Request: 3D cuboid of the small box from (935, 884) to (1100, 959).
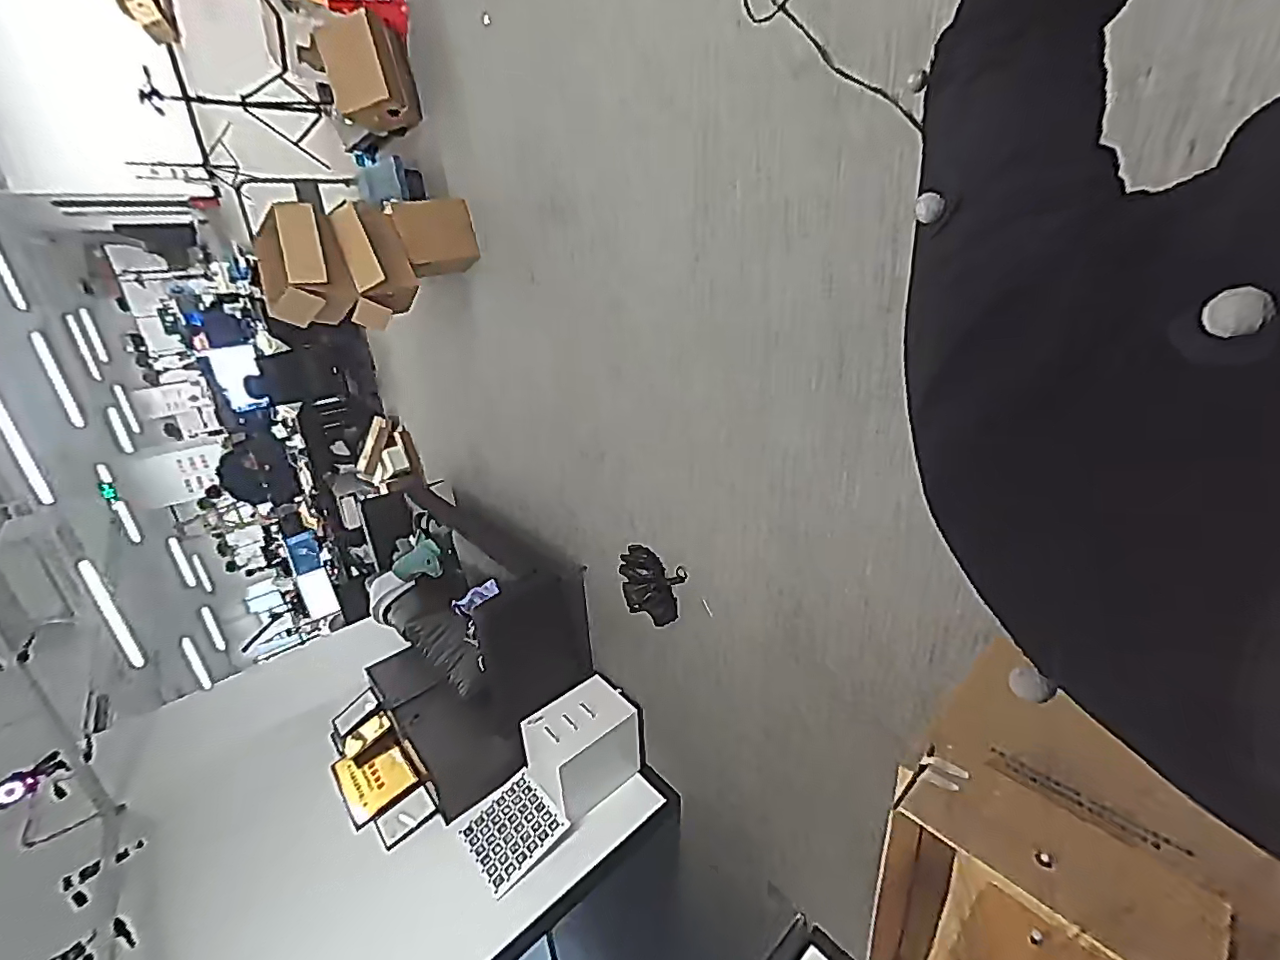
[{"bbox_3d":[0.609,0.817,0.887,0.179,0.176,0.168,22,126,47],"label":"small box"}]
